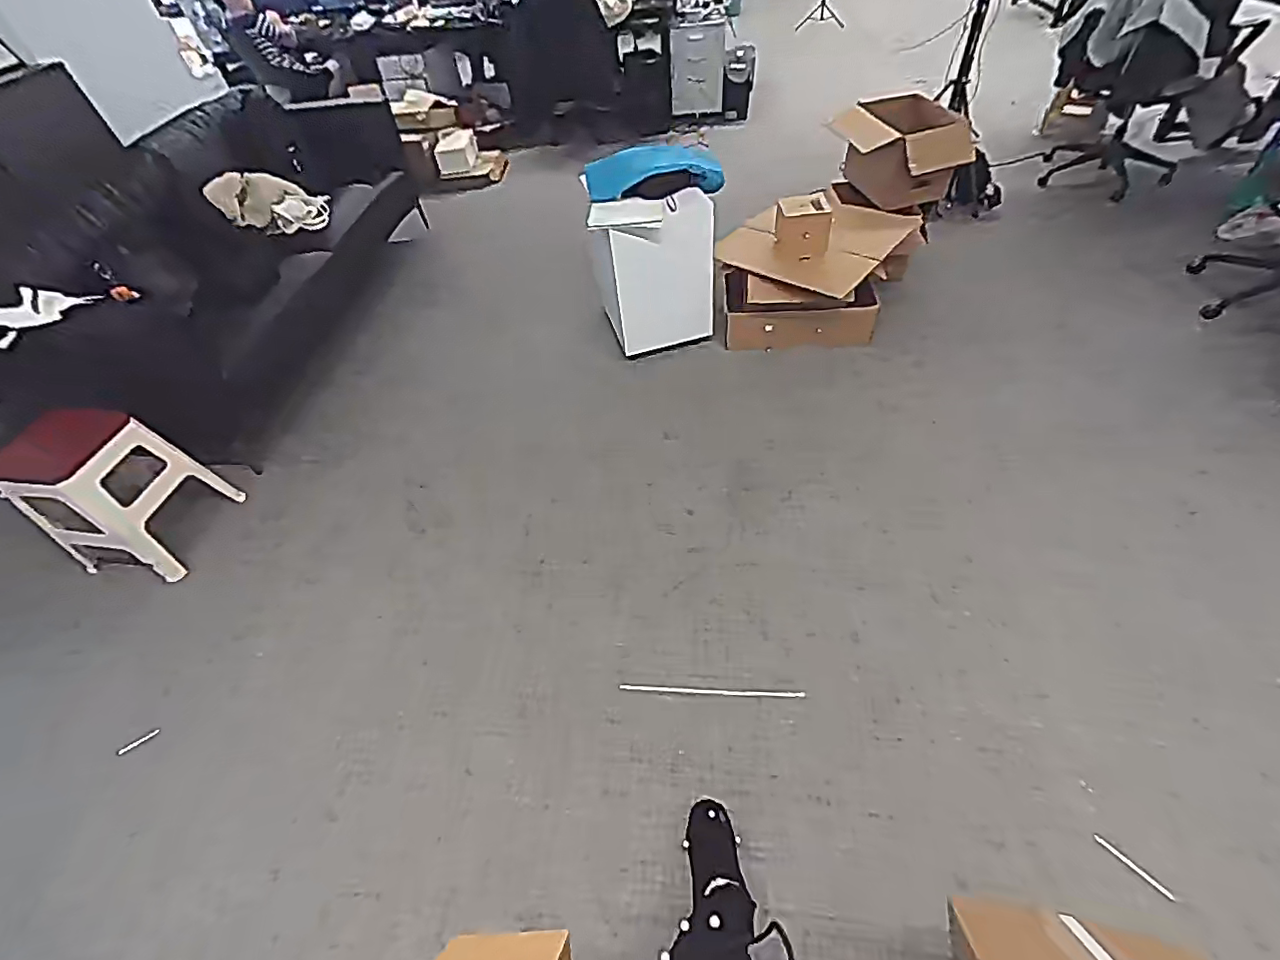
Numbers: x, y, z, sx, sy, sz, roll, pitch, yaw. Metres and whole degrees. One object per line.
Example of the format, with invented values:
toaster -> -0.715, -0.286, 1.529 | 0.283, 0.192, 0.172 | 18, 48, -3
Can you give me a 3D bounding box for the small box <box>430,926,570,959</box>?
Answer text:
small box -> -0.183, 0.679, 0.645 | 0.168, 0.179, 0.176 | -7, 78, 6
